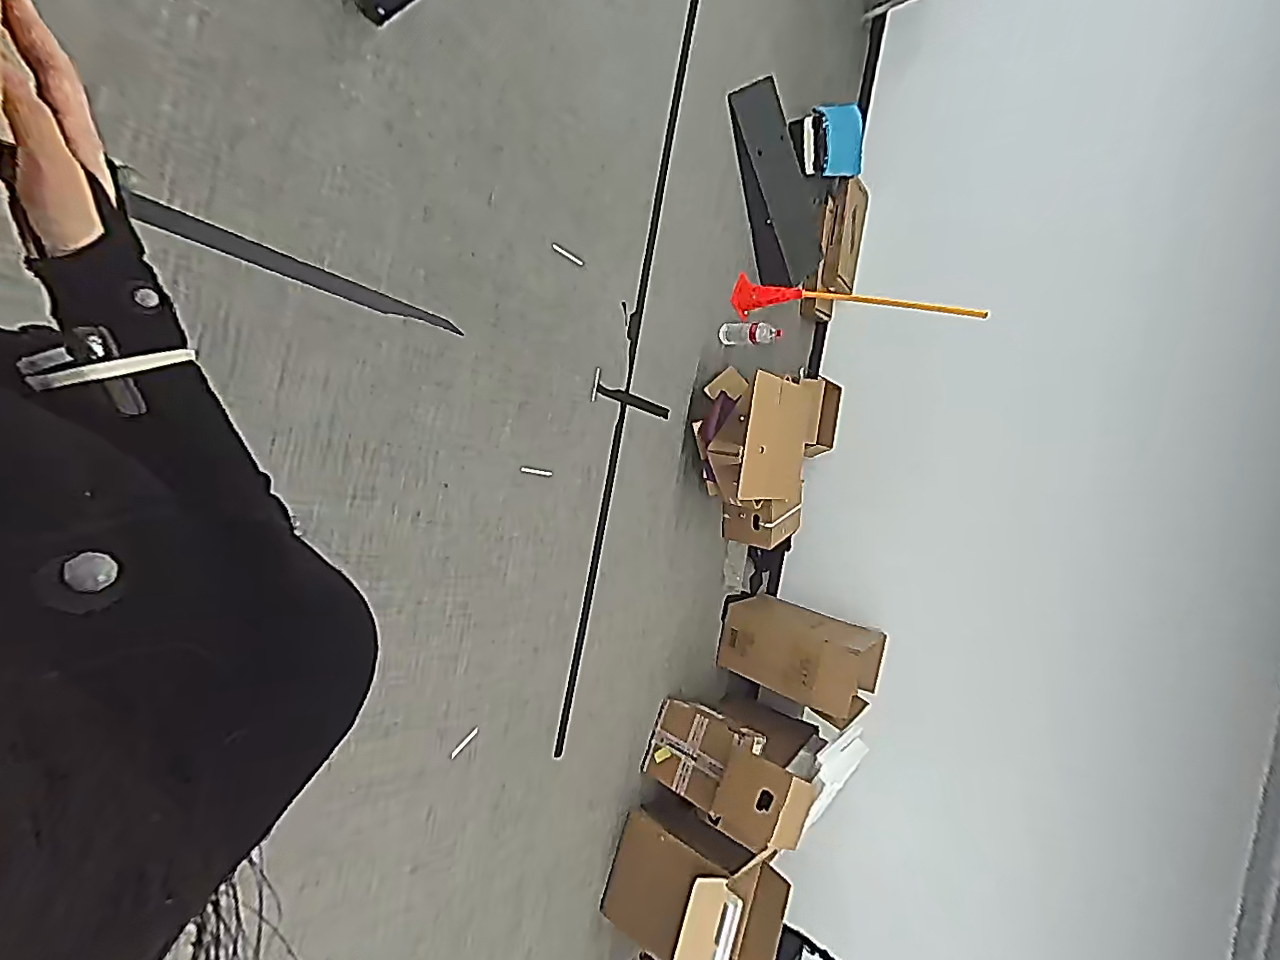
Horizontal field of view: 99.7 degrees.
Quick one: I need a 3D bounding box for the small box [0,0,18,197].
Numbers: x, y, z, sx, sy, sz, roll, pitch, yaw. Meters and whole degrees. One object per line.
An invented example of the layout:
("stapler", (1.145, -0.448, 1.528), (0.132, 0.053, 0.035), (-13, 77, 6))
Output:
("small box", (-0.410, -0.233, 0.239), (0.168, 0.176, 0.179), (0, 80, -53))
